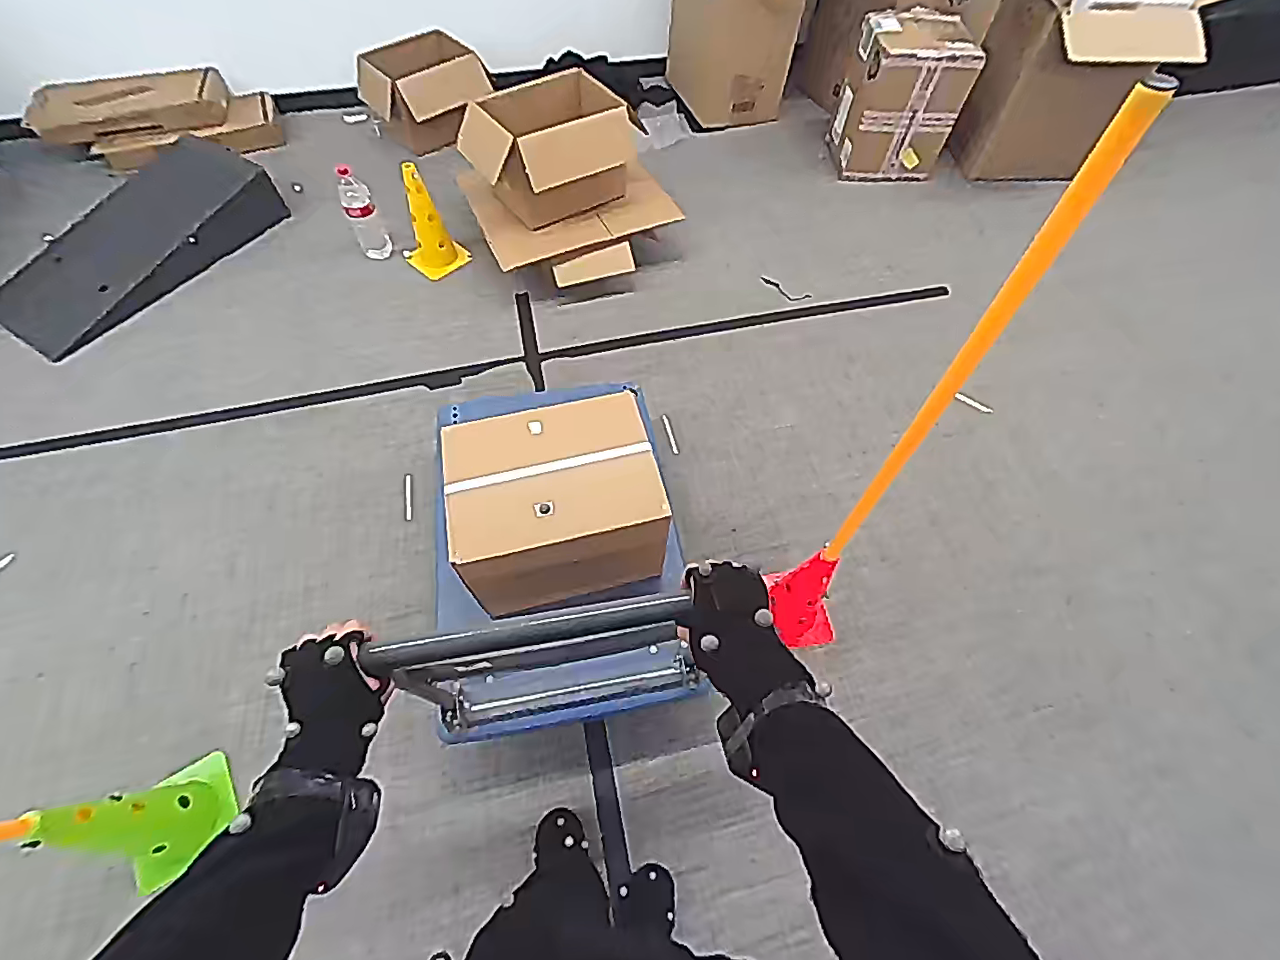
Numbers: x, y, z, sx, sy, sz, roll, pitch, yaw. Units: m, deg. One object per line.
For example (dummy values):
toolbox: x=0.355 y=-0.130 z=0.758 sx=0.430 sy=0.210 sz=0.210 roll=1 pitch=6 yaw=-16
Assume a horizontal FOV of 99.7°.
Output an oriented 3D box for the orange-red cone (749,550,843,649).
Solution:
orange-red cone: x=0.398 y=0.249 z=1.262 sx=0.199 sy=0.360 sz=0.198 roll=-5 pitch=60 yaw=-5
